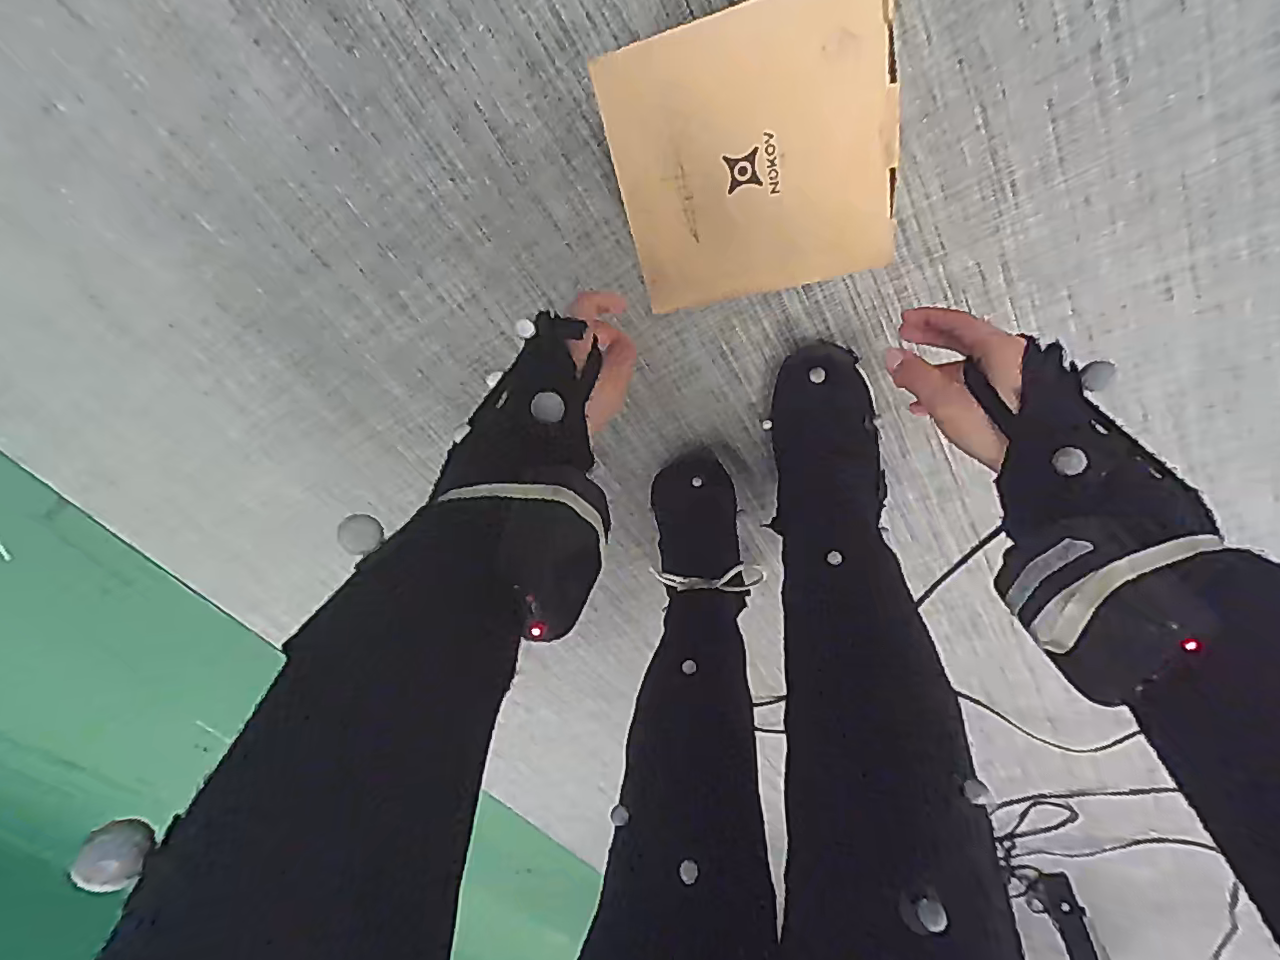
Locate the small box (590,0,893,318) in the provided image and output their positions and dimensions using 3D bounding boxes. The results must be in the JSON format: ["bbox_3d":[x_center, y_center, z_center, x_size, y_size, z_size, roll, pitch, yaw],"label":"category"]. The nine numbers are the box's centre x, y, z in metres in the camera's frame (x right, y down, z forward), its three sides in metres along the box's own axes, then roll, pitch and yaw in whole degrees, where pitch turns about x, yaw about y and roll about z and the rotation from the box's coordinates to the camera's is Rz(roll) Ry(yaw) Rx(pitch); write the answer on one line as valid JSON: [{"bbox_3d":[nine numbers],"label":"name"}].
[{"bbox_3d":[0.084,-0.249,0.417,0.179,0.176,0.168,-7,124,18],"label":"small box"}]
